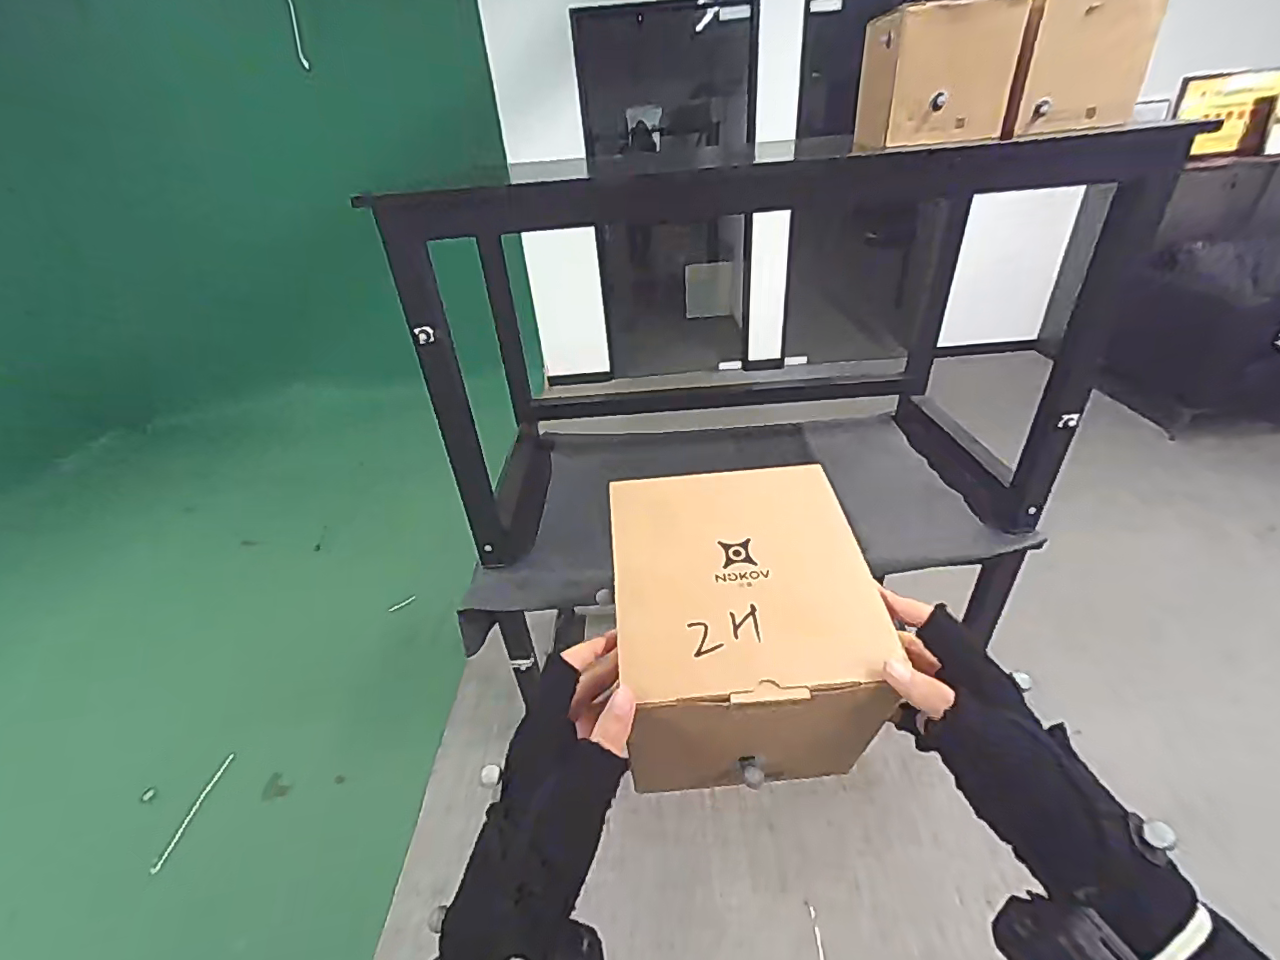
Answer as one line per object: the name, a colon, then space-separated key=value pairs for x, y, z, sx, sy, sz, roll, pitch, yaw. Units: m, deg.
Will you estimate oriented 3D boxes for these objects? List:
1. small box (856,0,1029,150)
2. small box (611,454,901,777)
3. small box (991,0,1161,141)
small box: x=0.449 y=-0.615 z=0.840 sx=0.168 sy=0.176 sz=0.179 roll=-1 pitch=33 yaw=5
small box: x=0.065 y=0.102 z=0.417 sx=0.168 sy=0.176 sz=0.179 roll=-5 pitch=44 yaw=0
small box: x=0.631 y=-0.627 z=0.829 sx=0.168 sy=0.176 sz=0.179 roll=-2 pitch=32 yaw=5
